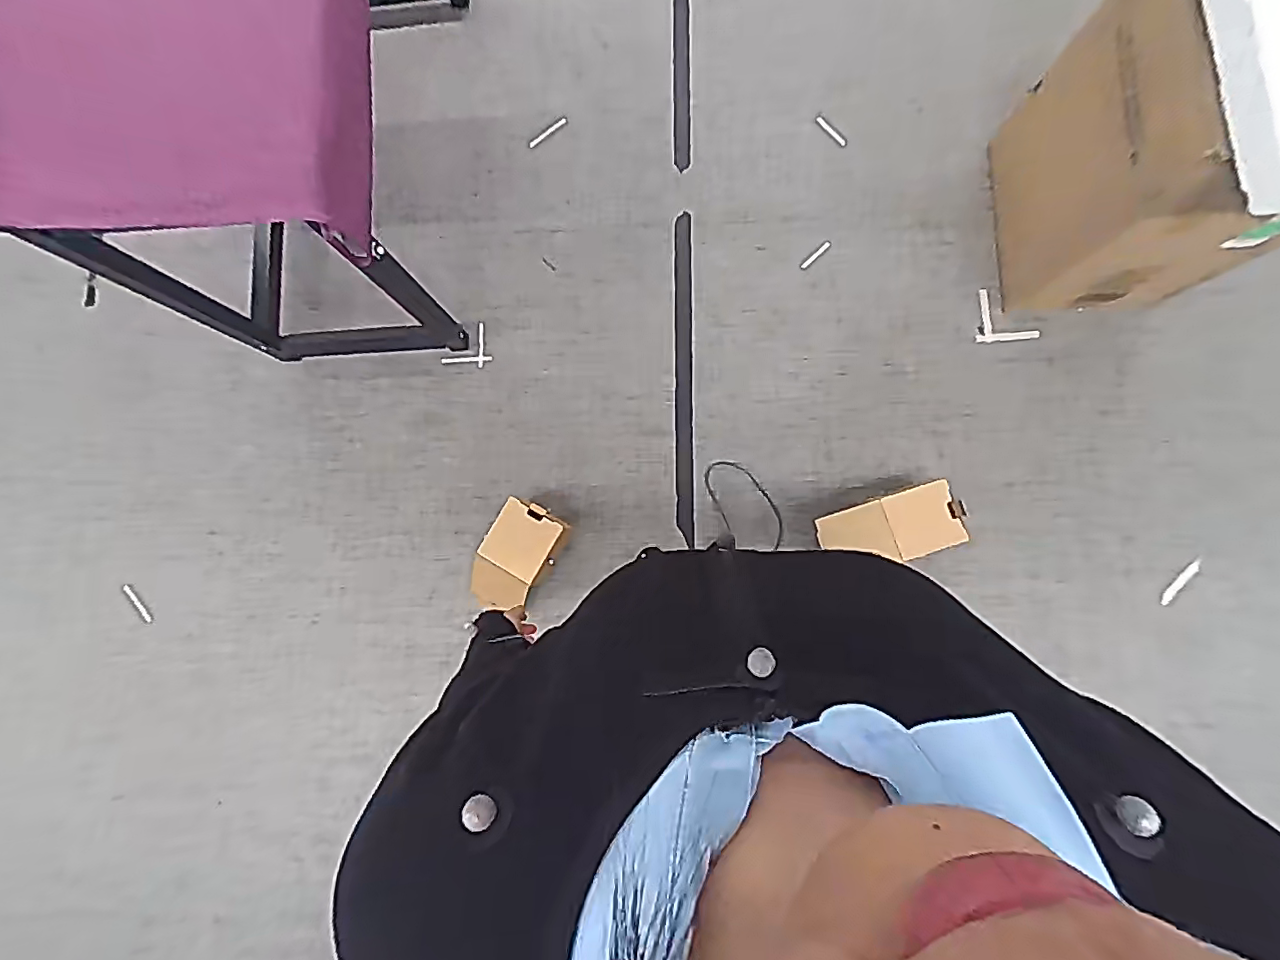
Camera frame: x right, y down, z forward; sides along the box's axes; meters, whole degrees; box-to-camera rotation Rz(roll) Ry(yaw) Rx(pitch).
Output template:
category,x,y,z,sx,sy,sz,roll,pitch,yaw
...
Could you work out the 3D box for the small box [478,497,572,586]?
category,x,y,z,sx,sy,sz,roll,pitch,yaw
small box,-0.298,0.165,1.450,0.168,0.176,0.179,30,85,6
